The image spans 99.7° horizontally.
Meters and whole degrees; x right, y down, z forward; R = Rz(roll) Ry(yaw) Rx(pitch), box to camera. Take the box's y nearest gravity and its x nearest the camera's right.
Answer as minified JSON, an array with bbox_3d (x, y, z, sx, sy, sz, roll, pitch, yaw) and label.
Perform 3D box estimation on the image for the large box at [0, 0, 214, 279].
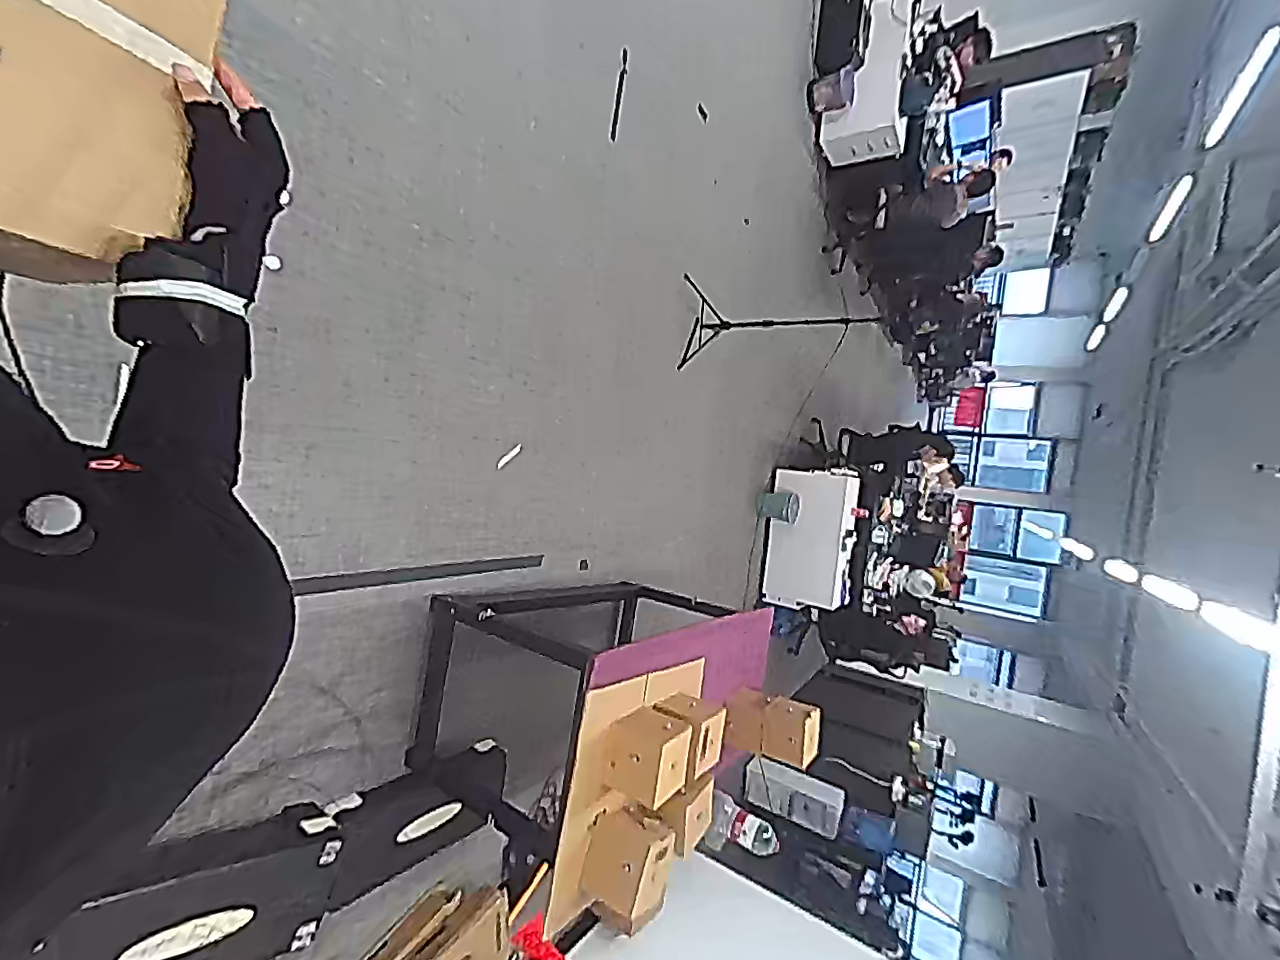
[{"bbox_3d":[-0.577,-0.348,0.331,0.408,0.320,0.320,9,94,-61],"label":"large box"}]
